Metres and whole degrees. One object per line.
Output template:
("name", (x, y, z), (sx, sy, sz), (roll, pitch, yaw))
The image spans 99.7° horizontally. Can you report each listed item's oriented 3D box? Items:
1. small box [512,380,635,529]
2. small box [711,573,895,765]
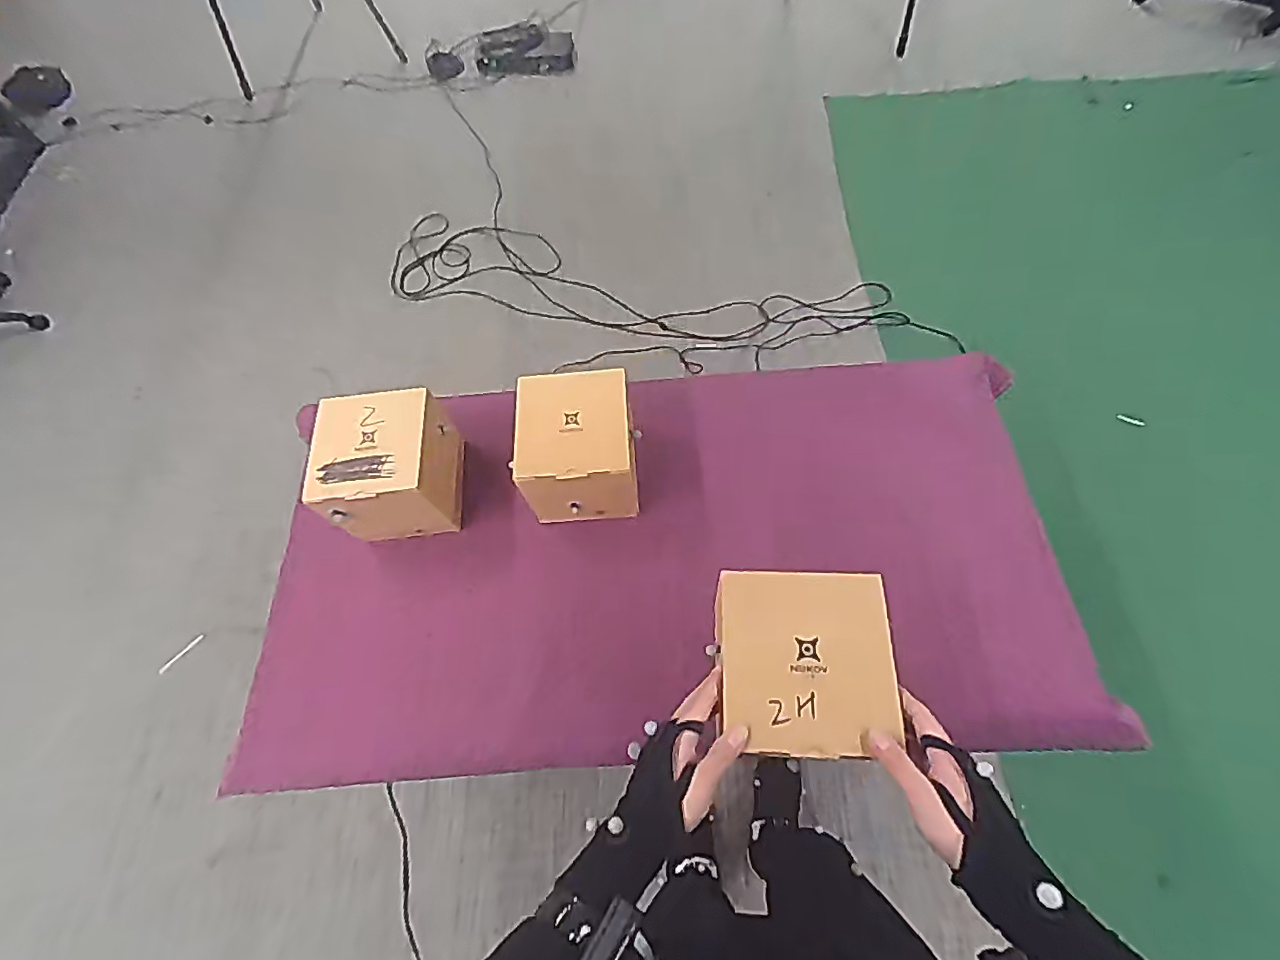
("small box", (-0.098, -0.036, 0.861), (0.168, 0.176, 0.179), (-5, 66, 2))
("small box", (0.164, 0.215, 0.607), (0.168, 0.176, 0.179), (0, 65, 7))
